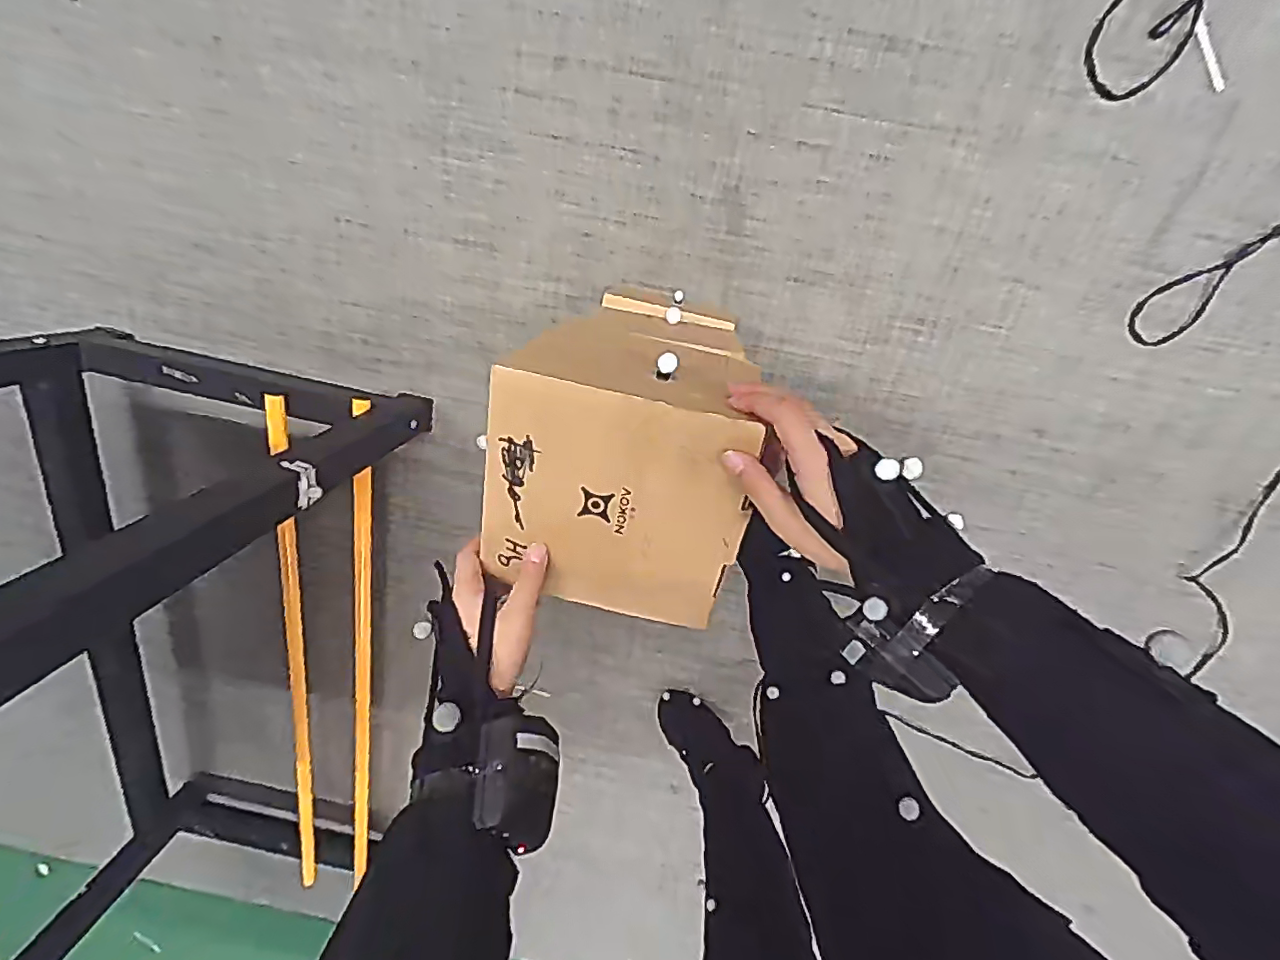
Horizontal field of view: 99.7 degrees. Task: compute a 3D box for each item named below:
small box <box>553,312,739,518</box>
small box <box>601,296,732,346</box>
[{"bbox_3d":[0.009,-0.083,0.616,0.168,0.176,0.179,11,112,1],"label":"small box"},{"bbox_3d":[0.023,-0.155,0.763,0.168,0.176,0.179,14,112,1],"label":"small box"}]
